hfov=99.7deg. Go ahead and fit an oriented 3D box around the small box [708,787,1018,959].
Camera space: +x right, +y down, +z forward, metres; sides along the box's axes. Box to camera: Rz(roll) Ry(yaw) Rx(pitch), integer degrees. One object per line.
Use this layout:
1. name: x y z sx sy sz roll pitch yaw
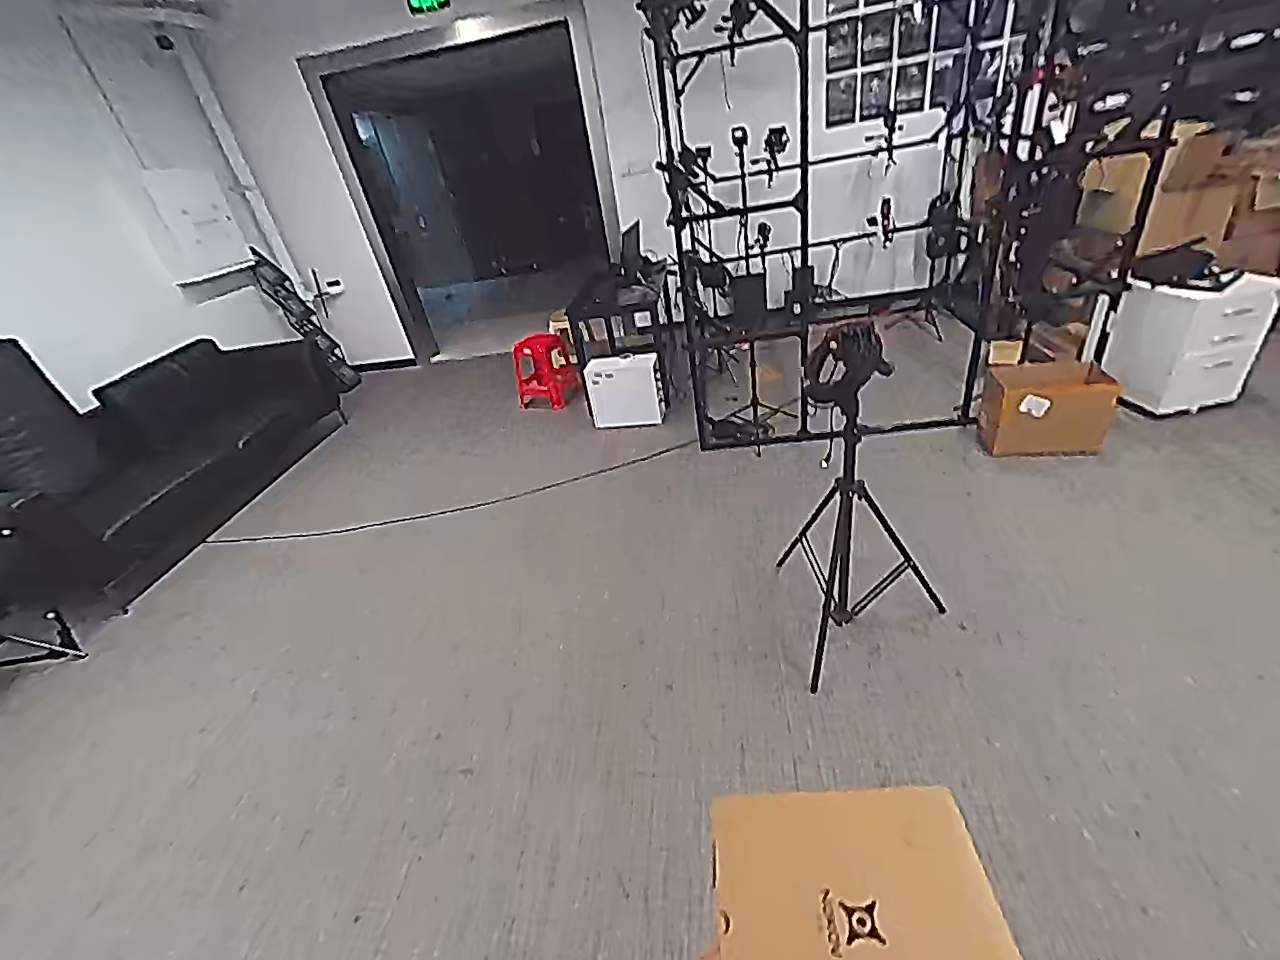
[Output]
1. small box: 0.146 0.342 0.370 0.179 0.176 0.168 -9 27 9
